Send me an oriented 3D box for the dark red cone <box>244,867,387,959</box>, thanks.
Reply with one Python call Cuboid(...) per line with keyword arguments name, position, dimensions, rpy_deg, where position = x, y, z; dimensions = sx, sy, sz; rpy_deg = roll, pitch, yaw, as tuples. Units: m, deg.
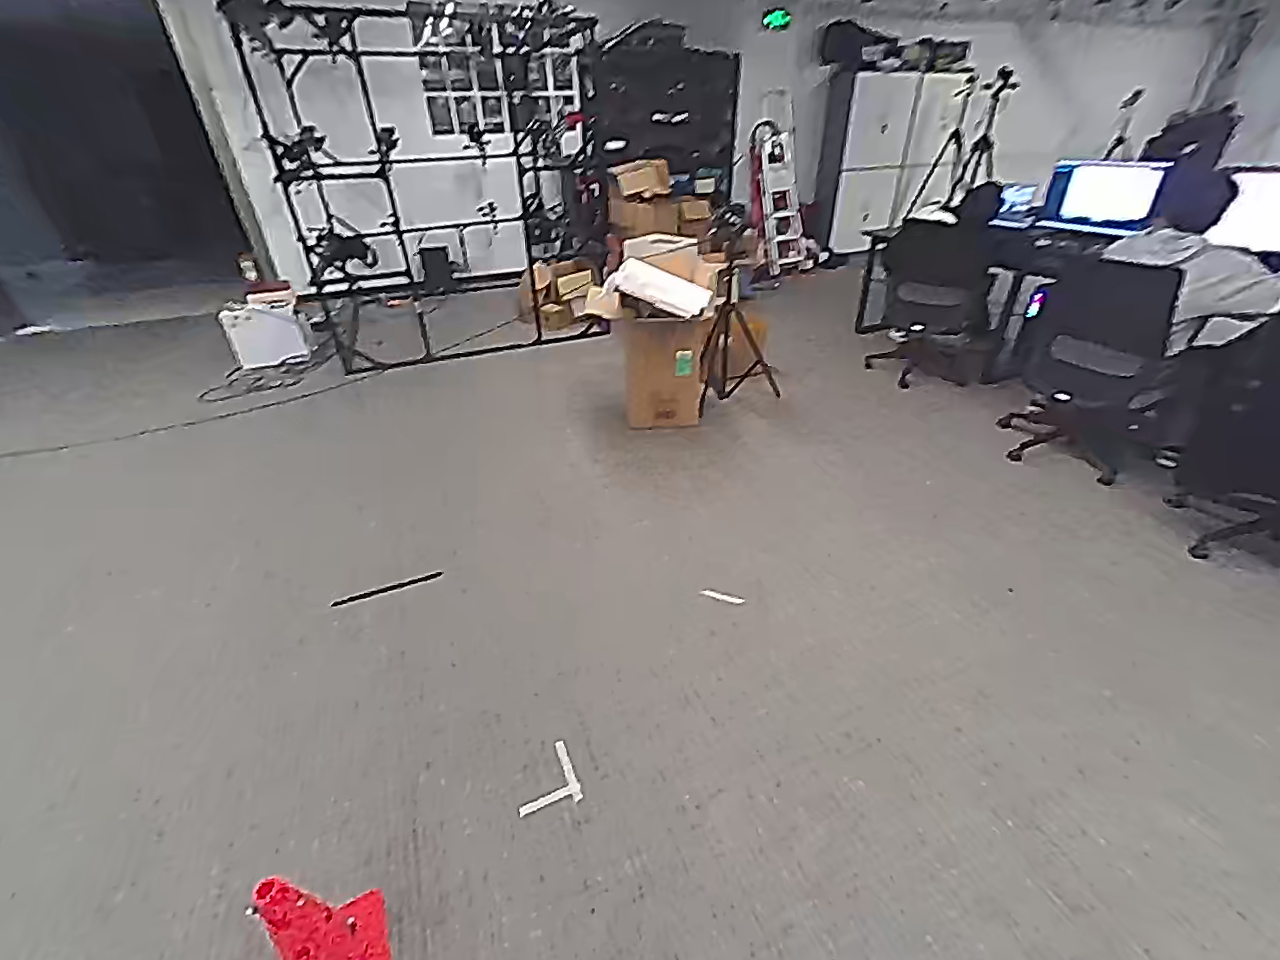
Cuboid(name="dark red cone", position=(-0.623, 0.814, 0.987), dimensions=(0.202, 0.394, 0.201), rpy_deg=(-19, 38, -24))
